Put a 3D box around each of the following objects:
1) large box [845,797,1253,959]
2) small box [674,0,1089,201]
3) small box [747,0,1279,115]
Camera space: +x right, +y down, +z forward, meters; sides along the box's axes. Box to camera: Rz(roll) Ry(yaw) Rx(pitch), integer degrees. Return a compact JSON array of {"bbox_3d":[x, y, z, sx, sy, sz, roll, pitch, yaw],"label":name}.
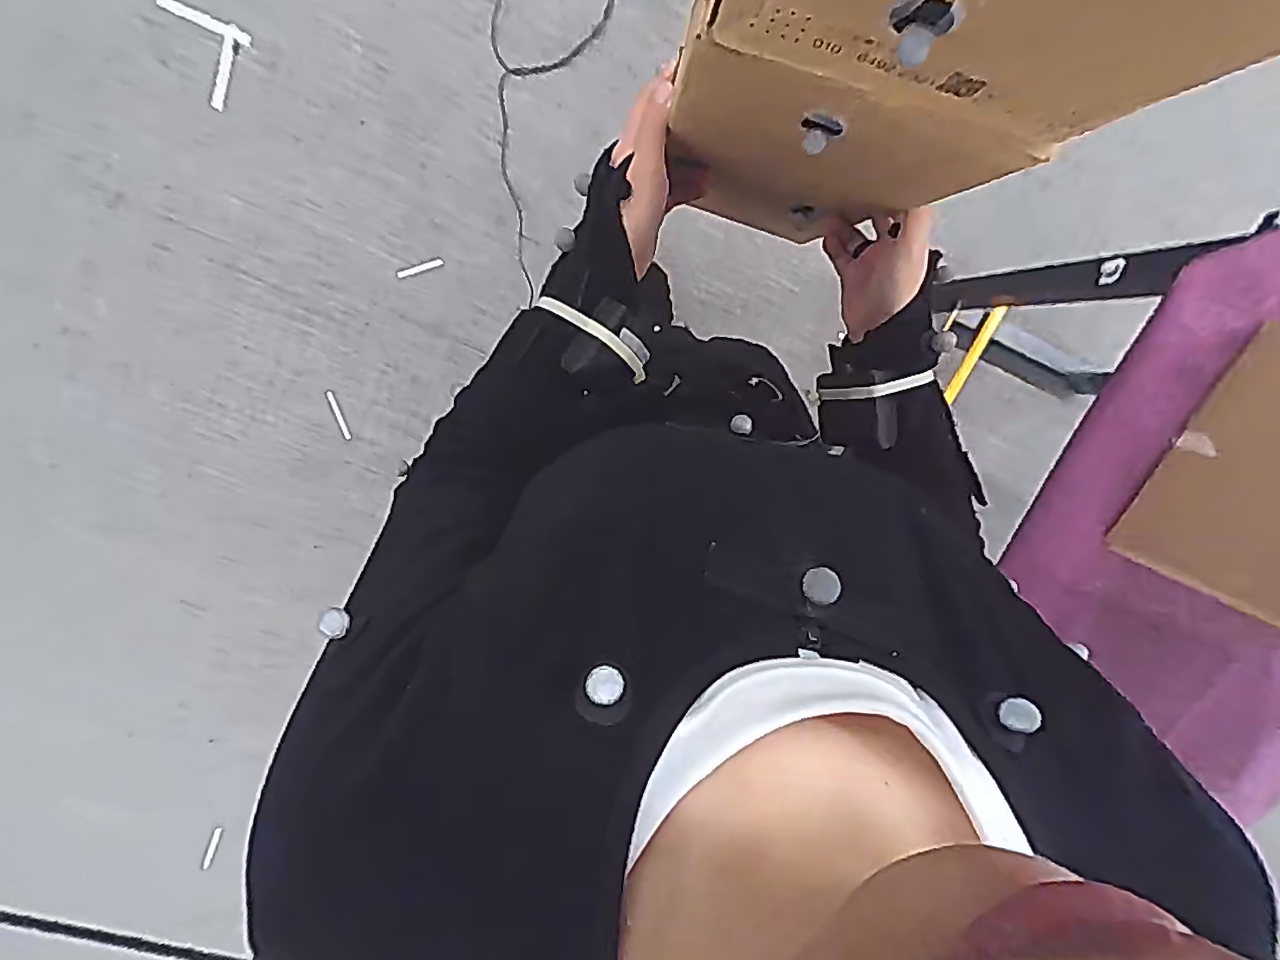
[{"bbox_3d":[0.565,0.691,0.703,0.408,0.320,0.320,22,103,-12],"label":"large box"},{"bbox_3d":[0.124,-0.267,0.285,0.179,0.176,0.168,13,106,-7],"label":"small box"},{"bbox_3d":[0.133,-0.229,0.127,0.168,0.176,0.179,12,107,-6],"label":"small box"}]
